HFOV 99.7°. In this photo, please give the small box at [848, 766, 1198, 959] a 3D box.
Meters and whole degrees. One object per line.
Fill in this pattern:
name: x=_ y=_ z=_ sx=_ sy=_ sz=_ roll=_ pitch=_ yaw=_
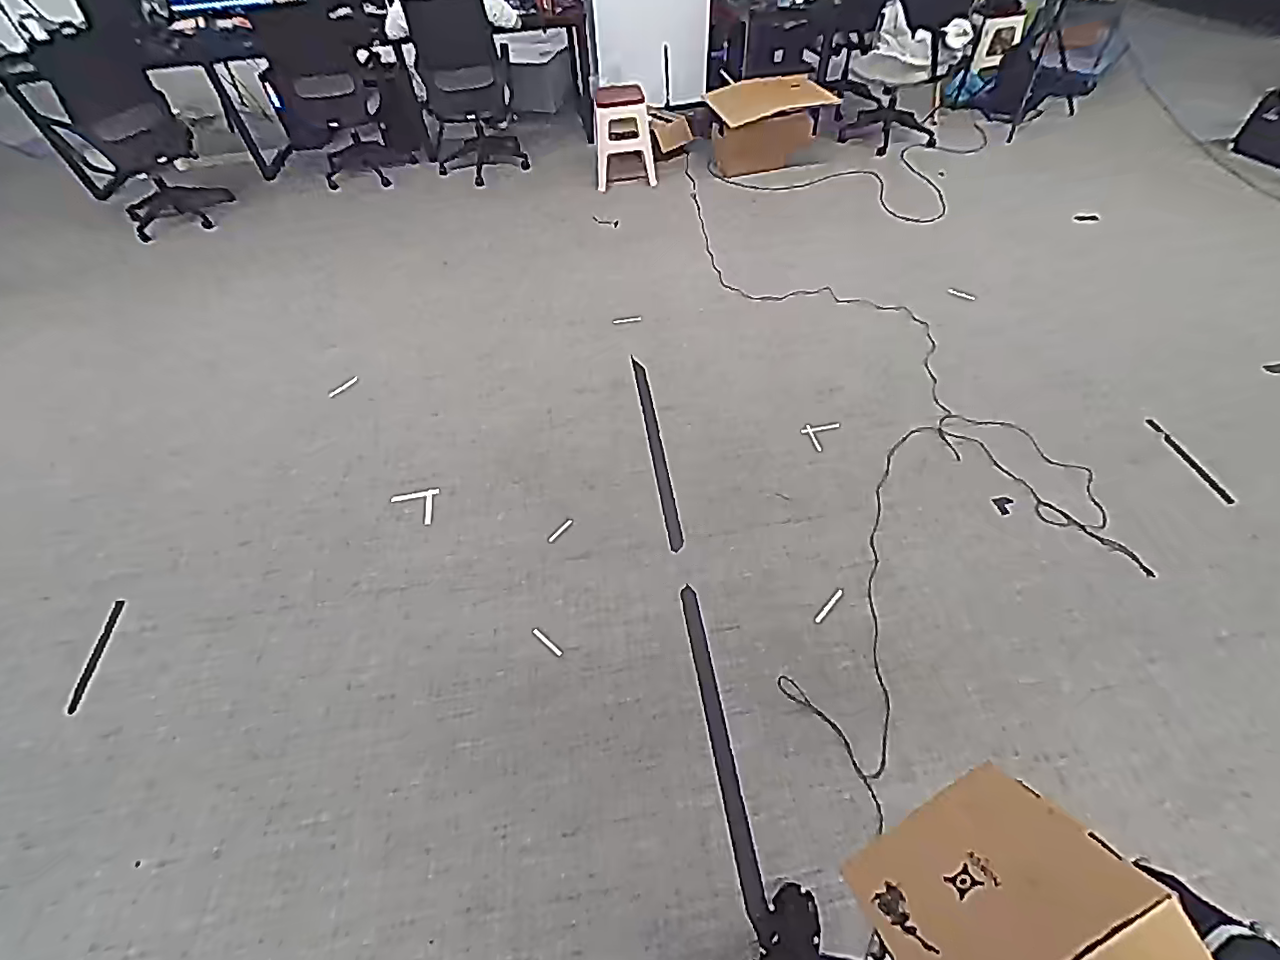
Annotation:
small box: x=0.313 y=0.386 z=0.436 sx=0.179 sy=0.168 sz=0.176 roll=-32 pitch=91 yaw=-3
